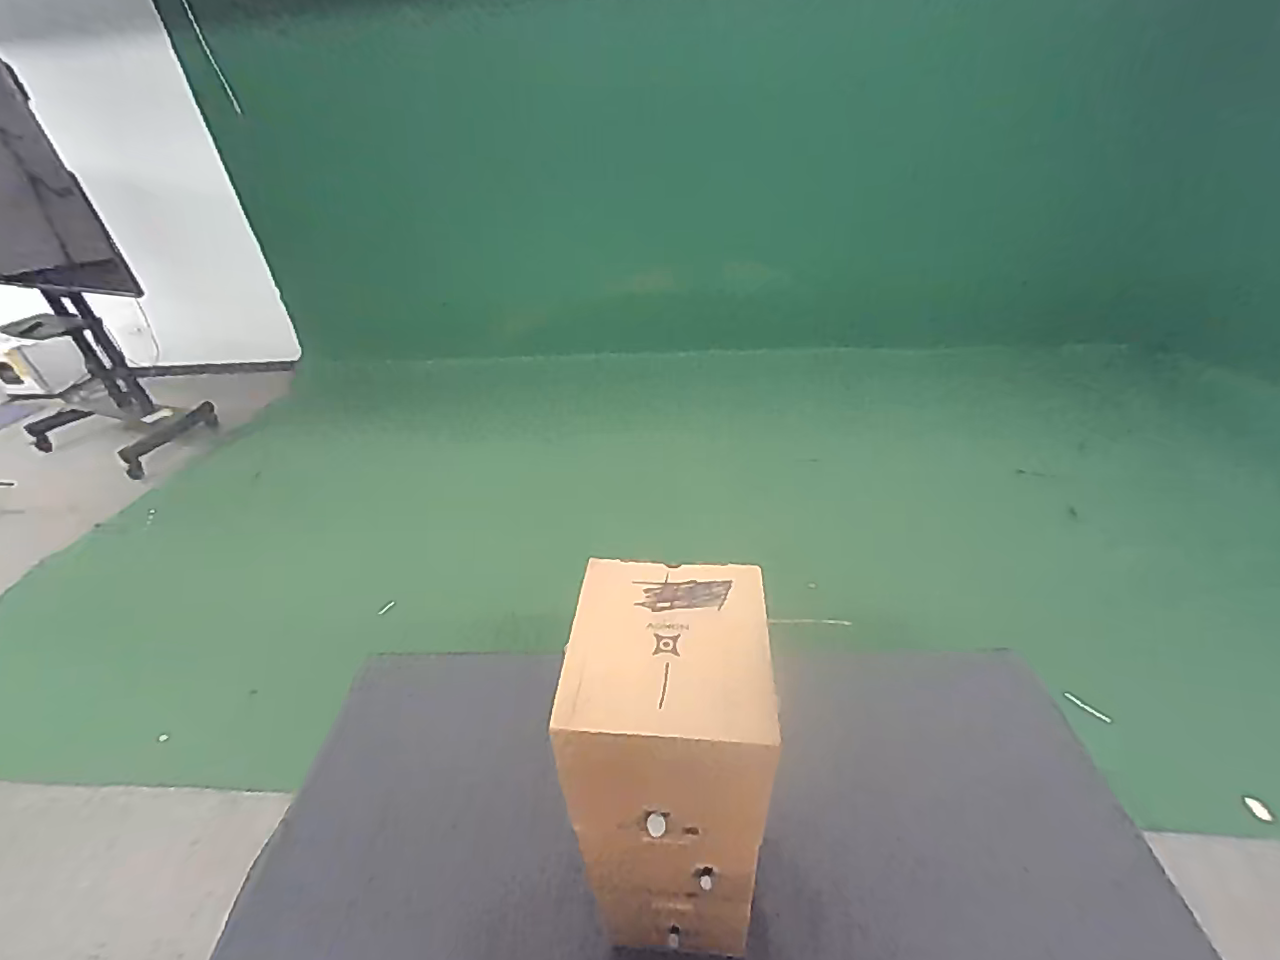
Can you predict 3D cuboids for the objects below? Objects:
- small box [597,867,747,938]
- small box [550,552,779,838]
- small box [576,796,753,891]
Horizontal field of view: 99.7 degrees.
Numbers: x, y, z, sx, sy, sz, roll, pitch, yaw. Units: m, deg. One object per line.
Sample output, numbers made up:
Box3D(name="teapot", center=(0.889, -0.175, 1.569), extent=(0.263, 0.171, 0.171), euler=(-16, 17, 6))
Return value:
Box3D(name="small box", center=(0.047, 0.448, 0.688), extent=(0.168, 0.176, 0.179), euler=(0, 37, 6))
Box3D(name="small box", center=(0.028, 0.189, 0.491), extent=(0.168, 0.176, 0.179), euler=(1, 38, 7))
Box3D(name="small box", center=(0.034, 0.318, 0.592), extent=(0.168, 0.176, 0.179), euler=(0, 35, 5))
